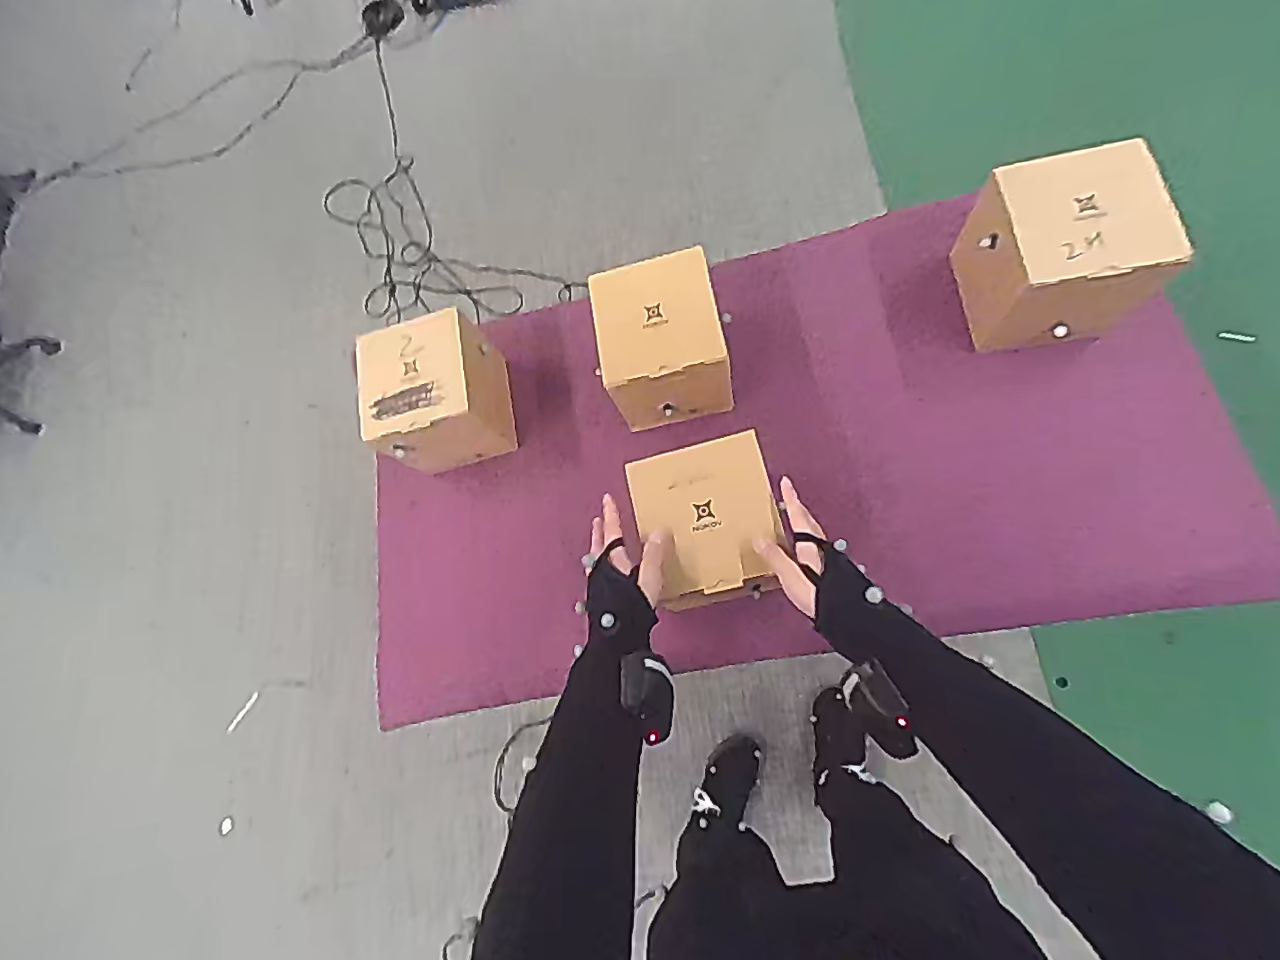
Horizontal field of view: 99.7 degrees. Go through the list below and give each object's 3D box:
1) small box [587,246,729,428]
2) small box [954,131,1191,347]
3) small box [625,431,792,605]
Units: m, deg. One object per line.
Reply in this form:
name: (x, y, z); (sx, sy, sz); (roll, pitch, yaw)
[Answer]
small box: (0.032, -0.198, 0.790); (0.168, 0.176, 0.179); (-13, 74, 8)
small box: (0.535, -0.299, 0.703); (0.168, 0.176, 0.179); (-7, 74, 11)
small box: (0.092, 0.061, 0.703); (0.168, 0.176, 0.179); (-15, 71, 8)
